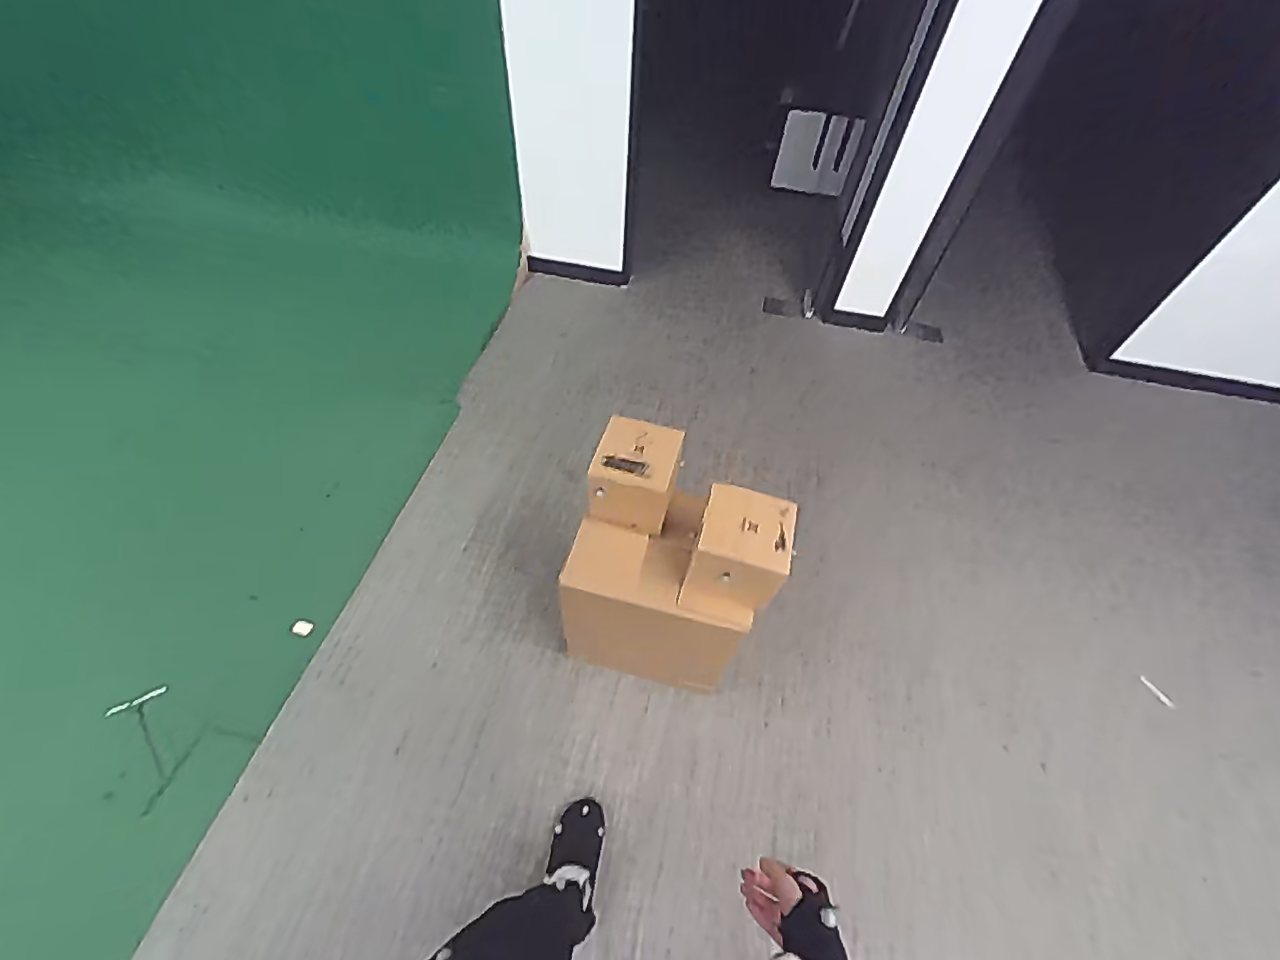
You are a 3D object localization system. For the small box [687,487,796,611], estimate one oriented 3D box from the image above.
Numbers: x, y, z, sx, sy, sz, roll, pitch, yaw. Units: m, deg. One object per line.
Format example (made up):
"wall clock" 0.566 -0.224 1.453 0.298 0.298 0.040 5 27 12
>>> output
"small box" 0.200 0.144 1.092 0.179 0.176 0.168 15 54 7
